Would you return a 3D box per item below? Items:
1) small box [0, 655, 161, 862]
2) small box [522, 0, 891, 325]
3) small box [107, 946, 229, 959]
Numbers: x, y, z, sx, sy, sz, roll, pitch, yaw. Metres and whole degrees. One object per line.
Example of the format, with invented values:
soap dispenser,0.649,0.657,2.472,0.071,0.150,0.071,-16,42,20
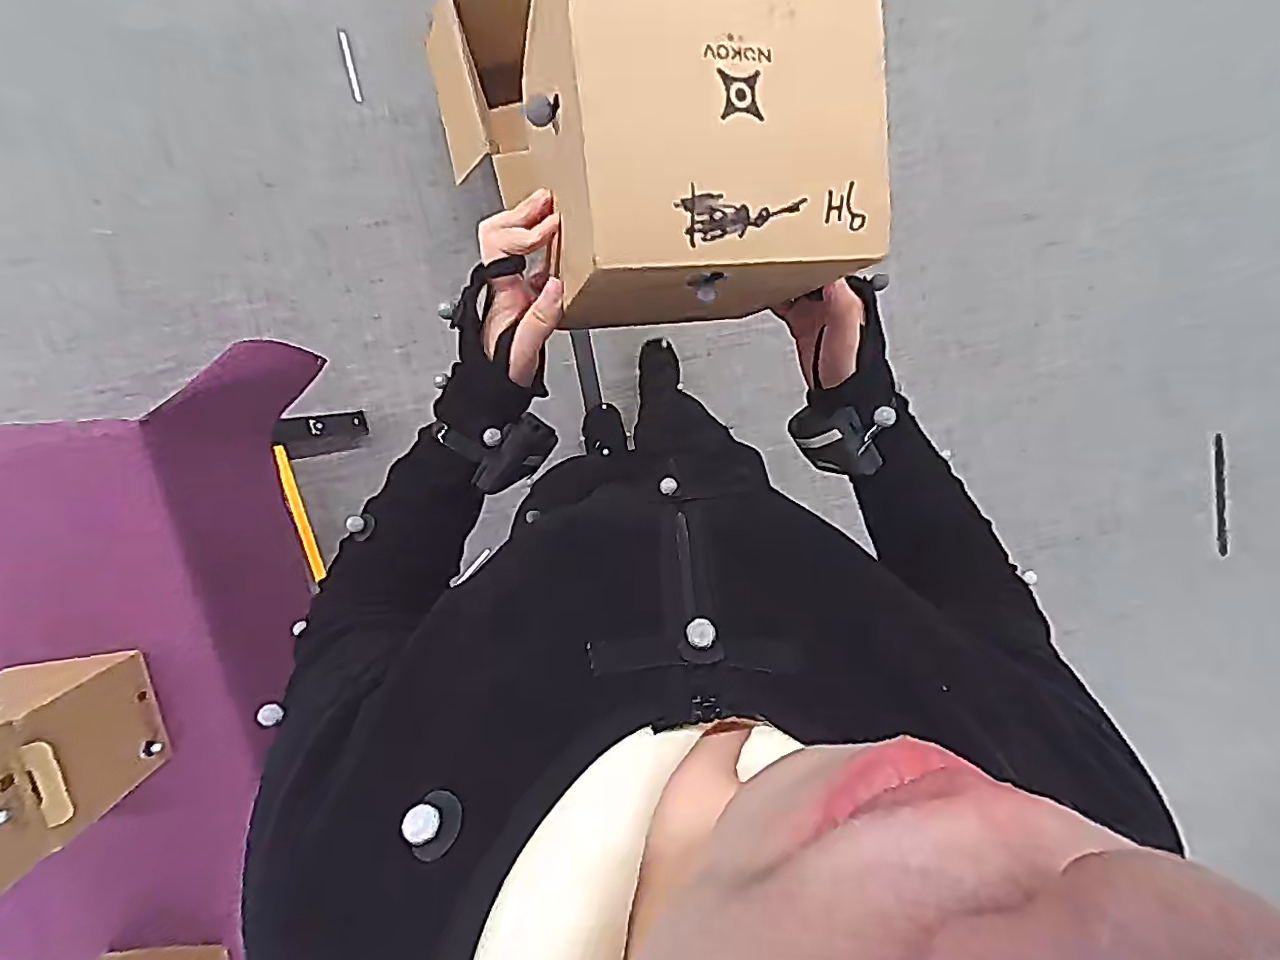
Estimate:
small box,-0.747,0.335,0.667,0.179,0.176,0.168,-8,100,-2
small box,0.025,-0.204,0.335,0.168,0.176,0.179,-9,98,-16
small box,-0.702,0.791,0.745,0.179,0.176,0.168,0,98,-5
